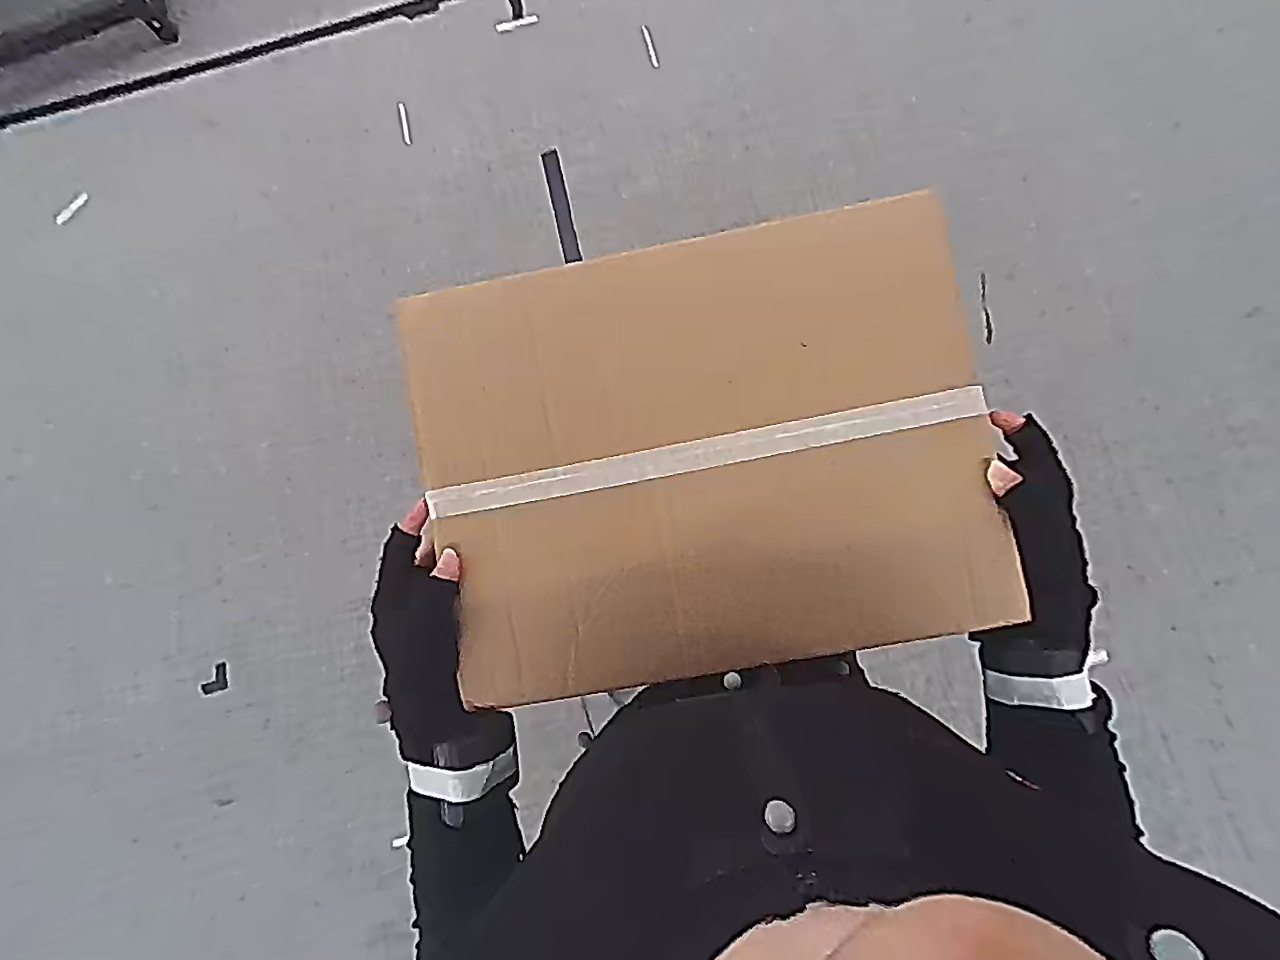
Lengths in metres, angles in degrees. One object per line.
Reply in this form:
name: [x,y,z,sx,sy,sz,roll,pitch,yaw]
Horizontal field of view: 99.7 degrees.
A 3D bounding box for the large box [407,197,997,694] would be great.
large box: [0.048,-0.021,0.554,0.408,0.320,0.320,-11,87,3]
